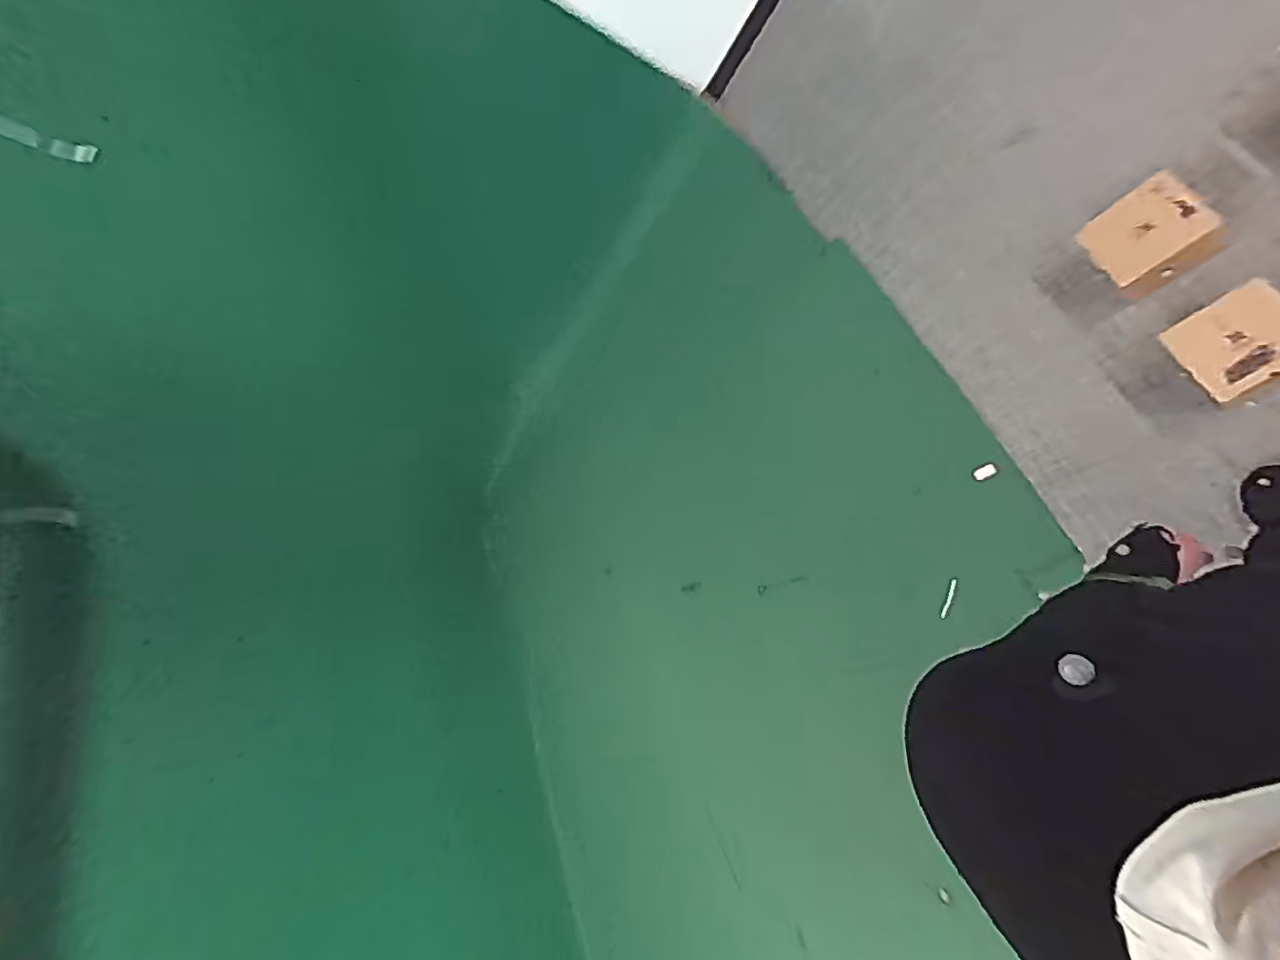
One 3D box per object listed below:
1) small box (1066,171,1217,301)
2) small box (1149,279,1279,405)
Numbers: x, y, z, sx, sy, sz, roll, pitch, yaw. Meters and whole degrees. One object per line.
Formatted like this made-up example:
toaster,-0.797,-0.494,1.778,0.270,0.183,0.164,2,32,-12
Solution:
small box,1.090,-0.518,1.176,0.179,0.176,0.168,-42,59,42
small box,1.176,-0.261,1.071,0.168,0.176,0.179,-43,57,40
